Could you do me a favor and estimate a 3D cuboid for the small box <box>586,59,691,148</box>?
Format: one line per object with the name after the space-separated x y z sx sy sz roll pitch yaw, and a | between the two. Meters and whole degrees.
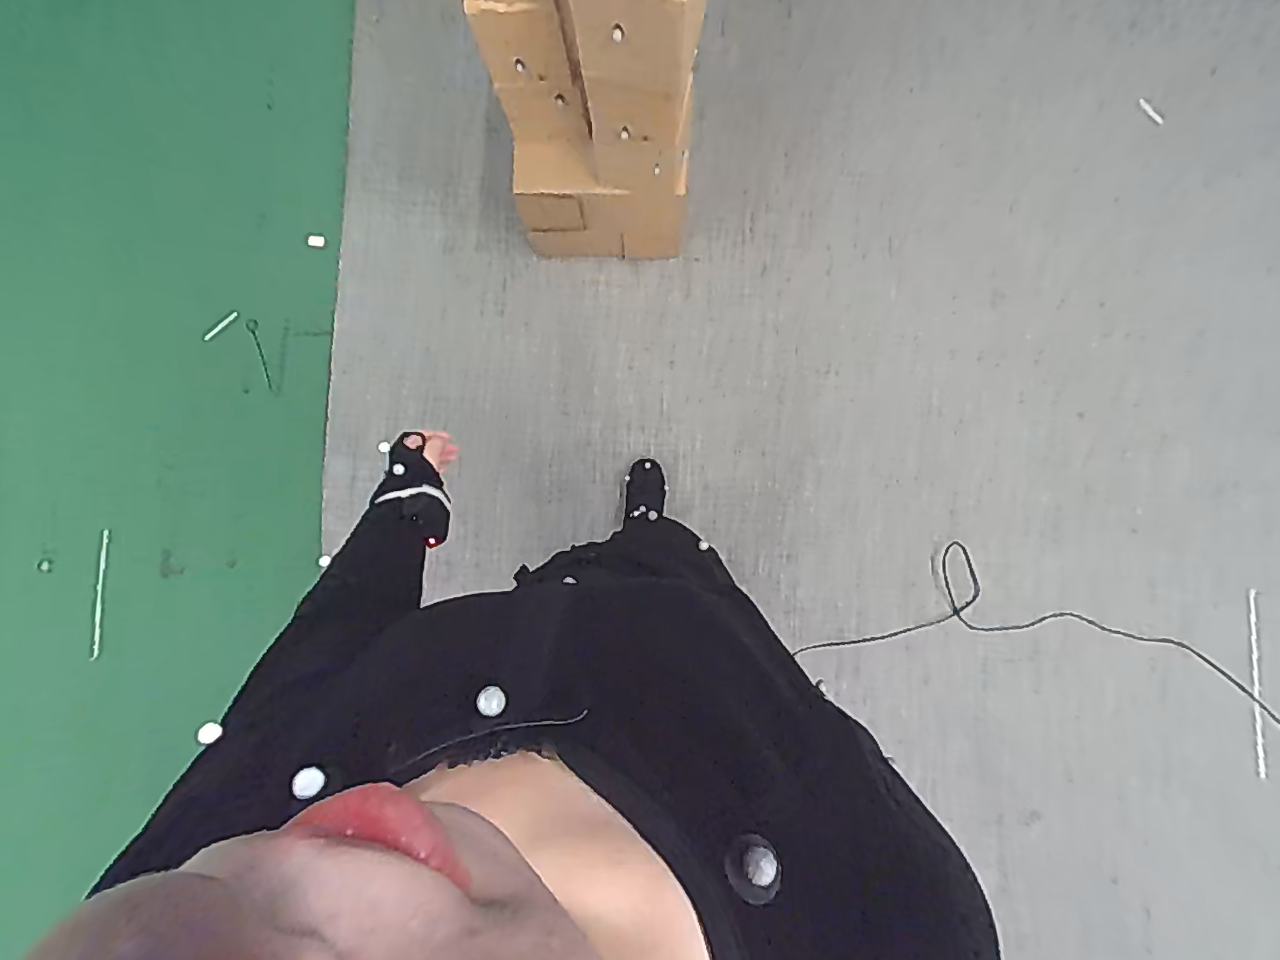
0.005 -0.755 0.989 0.168 0.176 0.179 10 87 3 | small box

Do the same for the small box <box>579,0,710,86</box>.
0.008 -0.747 0.823 0.179 0.176 0.168 15 87 4 | small box

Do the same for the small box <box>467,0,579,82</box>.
-0.210 -0.894 1.009 0.168 0.176 0.179 2 87 3 | small box

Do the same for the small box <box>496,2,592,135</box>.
-0.199 -0.882 1.172 0.179 0.176 0.168 1 85 3 | small box
